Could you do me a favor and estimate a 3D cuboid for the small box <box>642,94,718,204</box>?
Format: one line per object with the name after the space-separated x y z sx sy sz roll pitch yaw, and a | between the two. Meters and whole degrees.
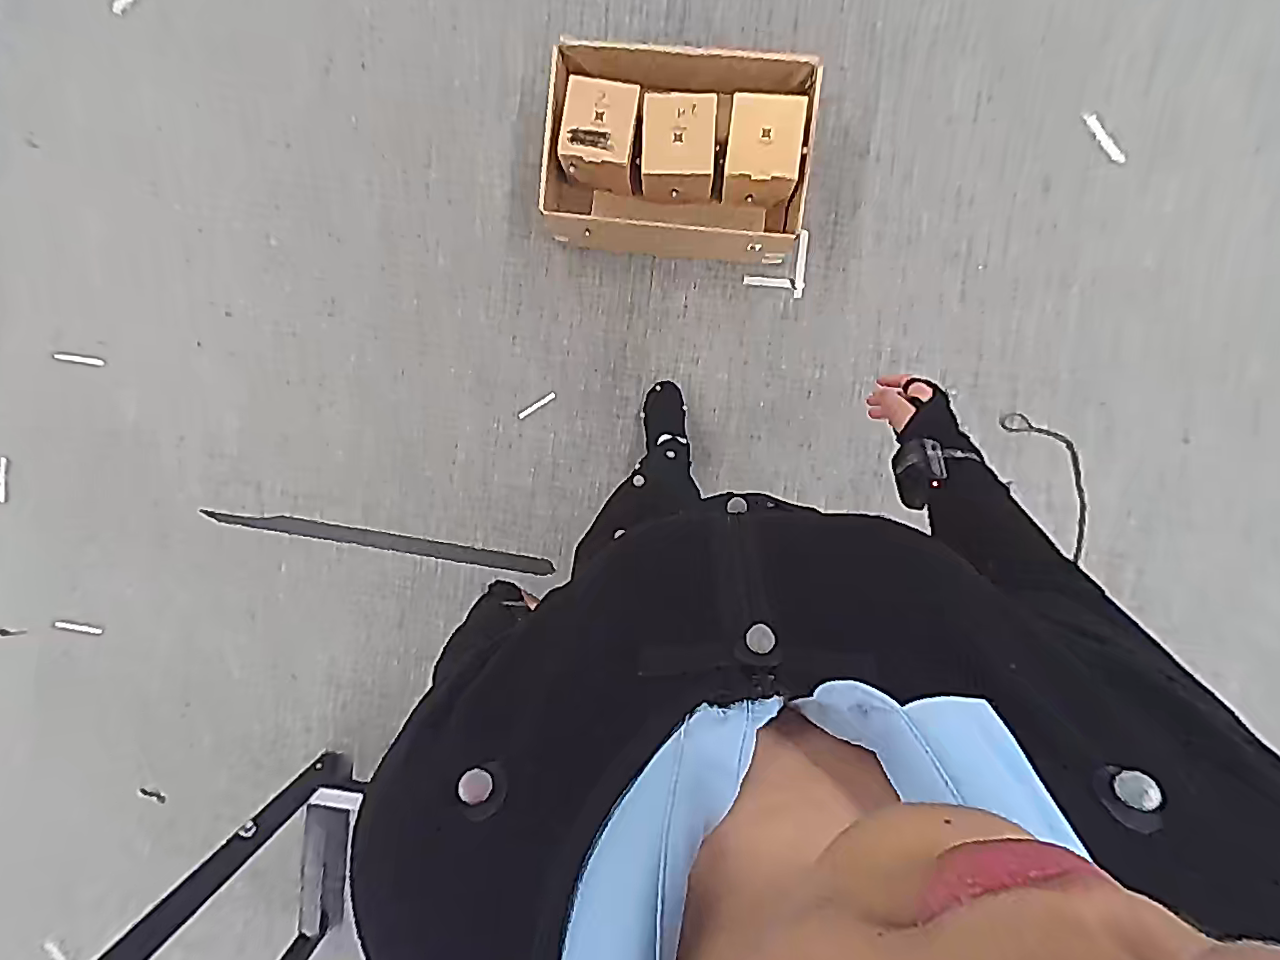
0.094 -0.783 1.296 0.168 0.176 0.179 2 95 2 | small box

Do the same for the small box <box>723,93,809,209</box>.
0.290 -0.773 1.283 0.168 0.176 0.179 6 96 5 | small box
